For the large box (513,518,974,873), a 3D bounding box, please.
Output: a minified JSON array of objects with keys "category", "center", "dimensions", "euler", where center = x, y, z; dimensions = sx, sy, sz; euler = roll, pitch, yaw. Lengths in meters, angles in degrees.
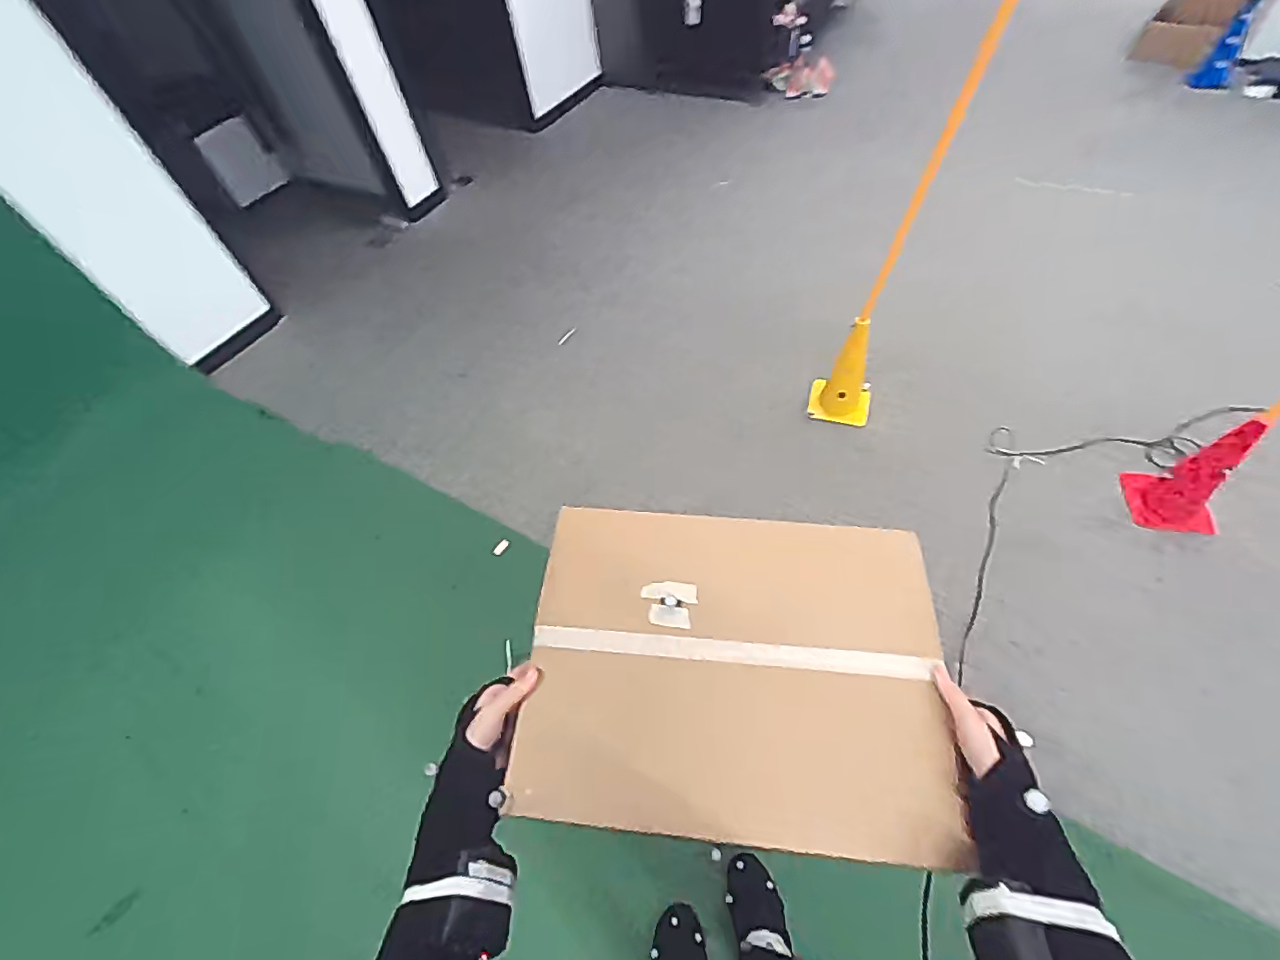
[{"category":"large box","center":[0.108,0.265,0.670],"dimensions":[0.408,0.320,0.320],"euler":[4,56,7]}]
